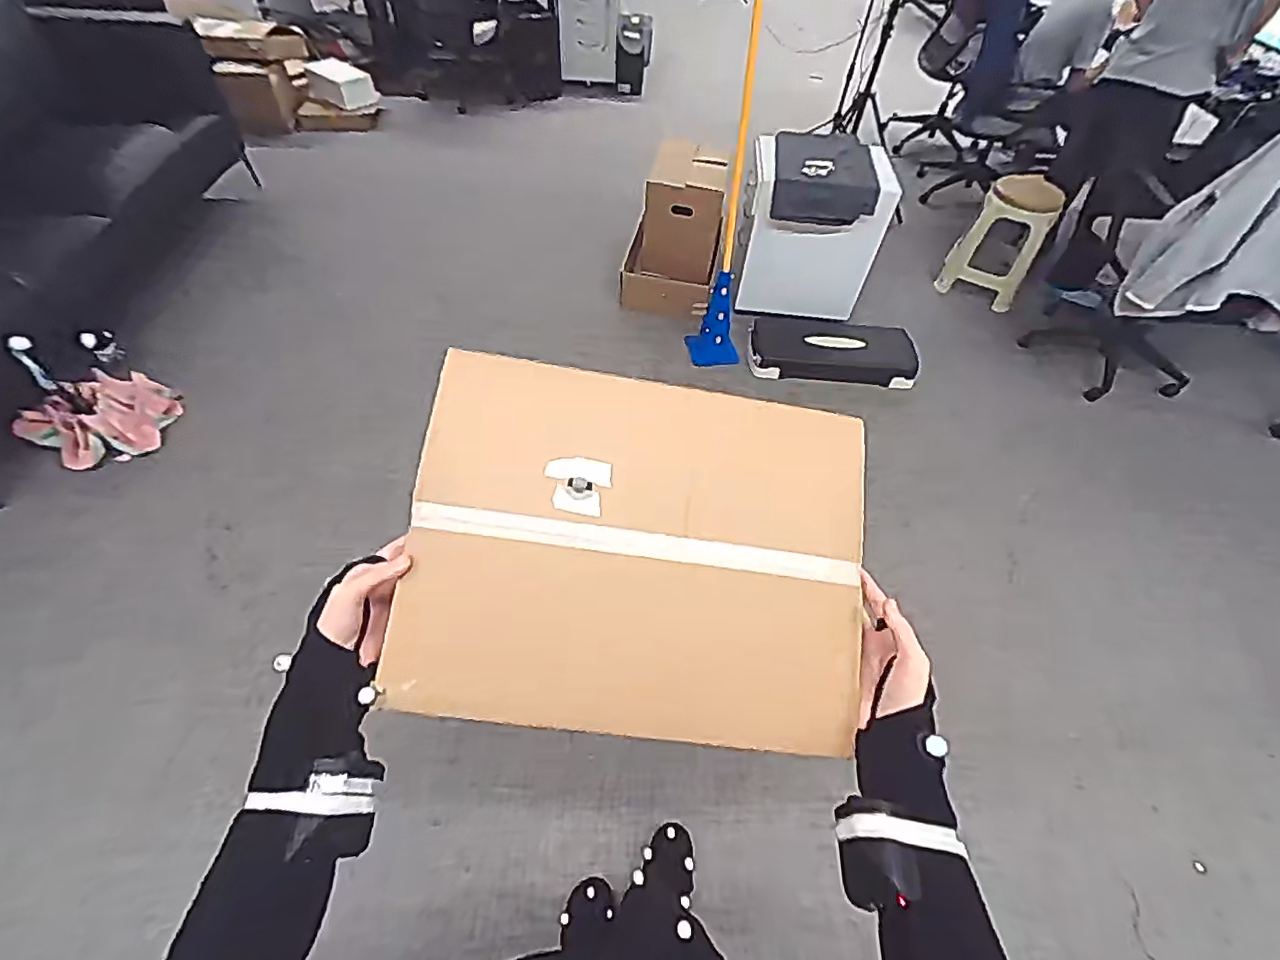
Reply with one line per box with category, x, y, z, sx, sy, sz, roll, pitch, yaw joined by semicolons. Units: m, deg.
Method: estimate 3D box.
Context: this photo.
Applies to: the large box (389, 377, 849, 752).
large box;-0.012;0.105;0.642;0.408;0.320;0.320;8;75;-5
